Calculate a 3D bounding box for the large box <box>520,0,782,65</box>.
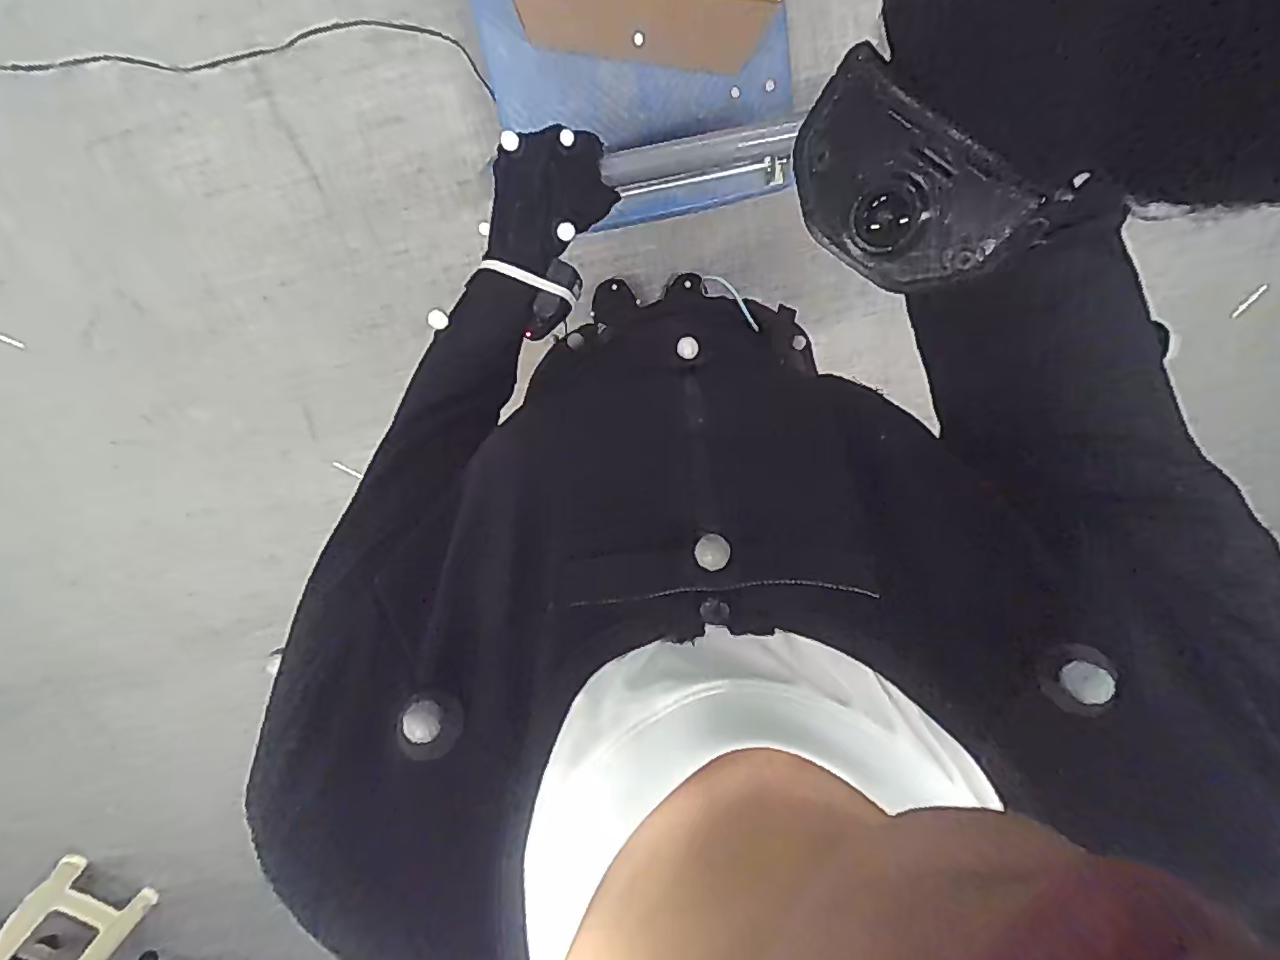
[{"bbox_3d":[0.021,-0.896,0.844,0.408,0.320,0.320,5,110,-2],"label":"large box"}]
